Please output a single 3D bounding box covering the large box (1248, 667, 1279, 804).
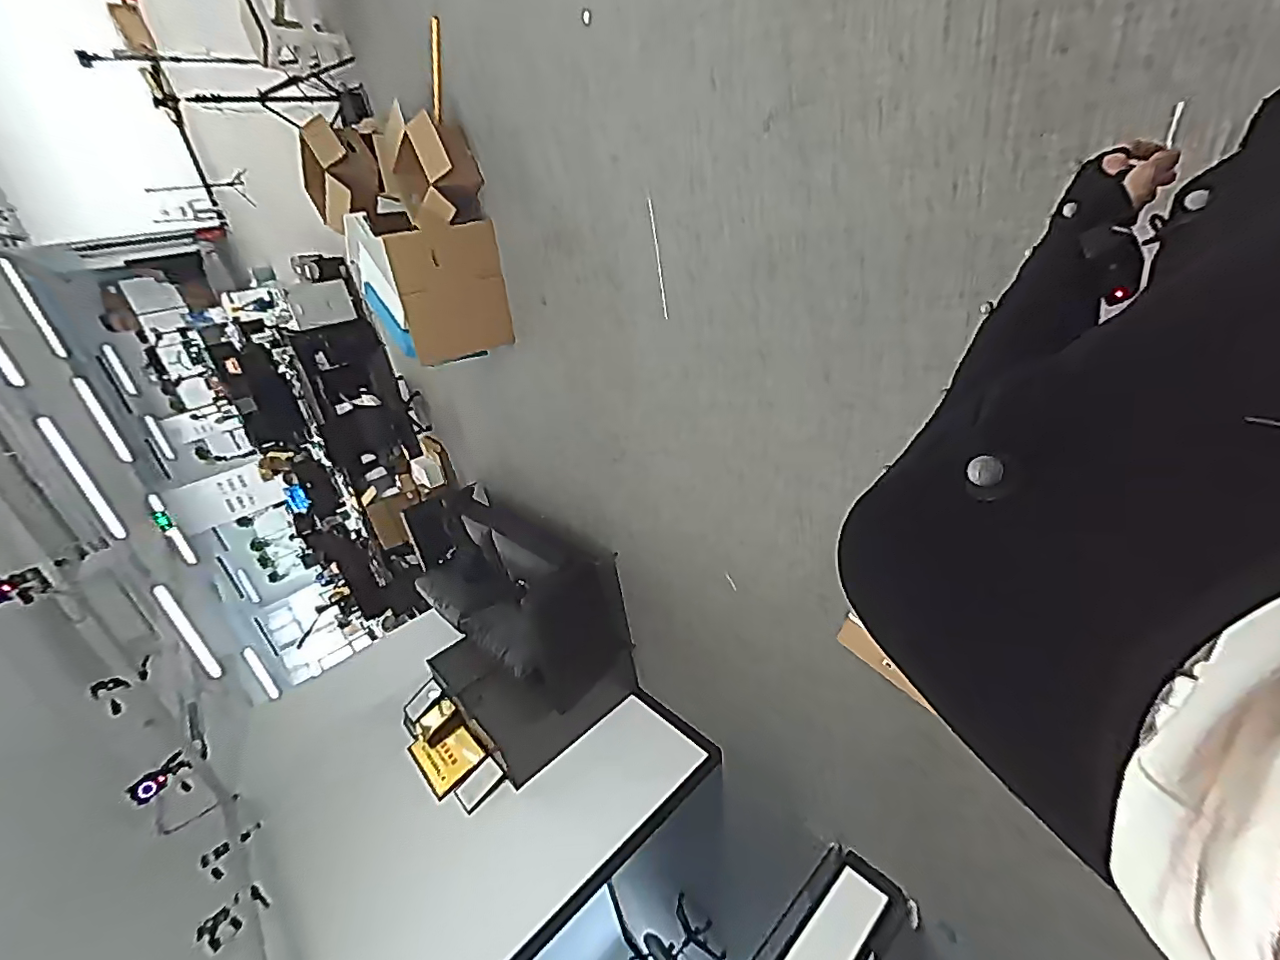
[{"bbox_3d":[1.538,0.574,1.041,0.320,0.320,0.408,60,145,1],"label":"large box"}]
